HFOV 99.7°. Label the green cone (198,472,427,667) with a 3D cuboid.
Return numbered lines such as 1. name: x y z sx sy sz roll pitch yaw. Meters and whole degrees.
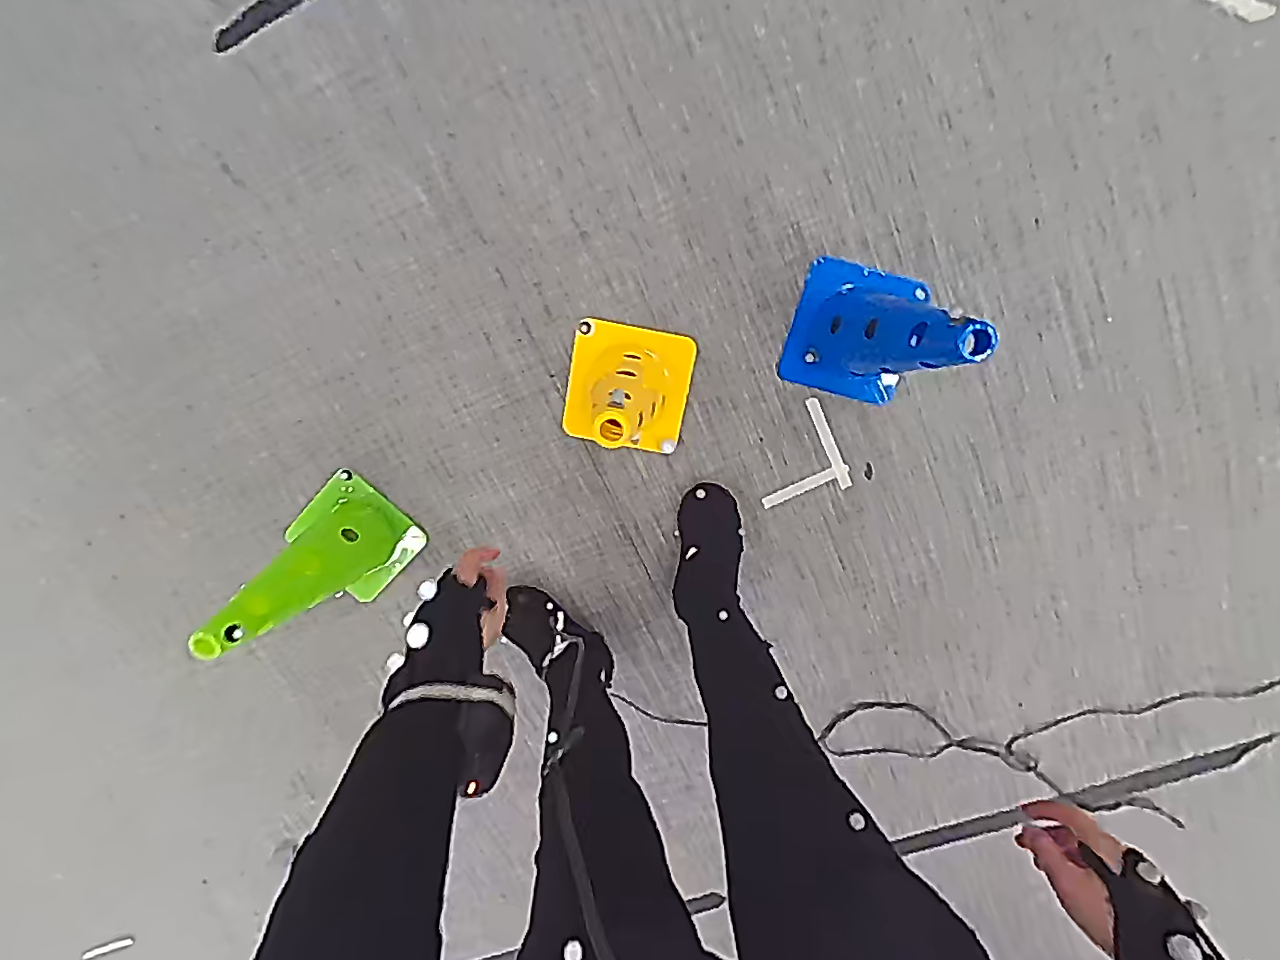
1. green cone: -0.525 0.159 0.833 0.202 0.368 0.200 43 104 -11
